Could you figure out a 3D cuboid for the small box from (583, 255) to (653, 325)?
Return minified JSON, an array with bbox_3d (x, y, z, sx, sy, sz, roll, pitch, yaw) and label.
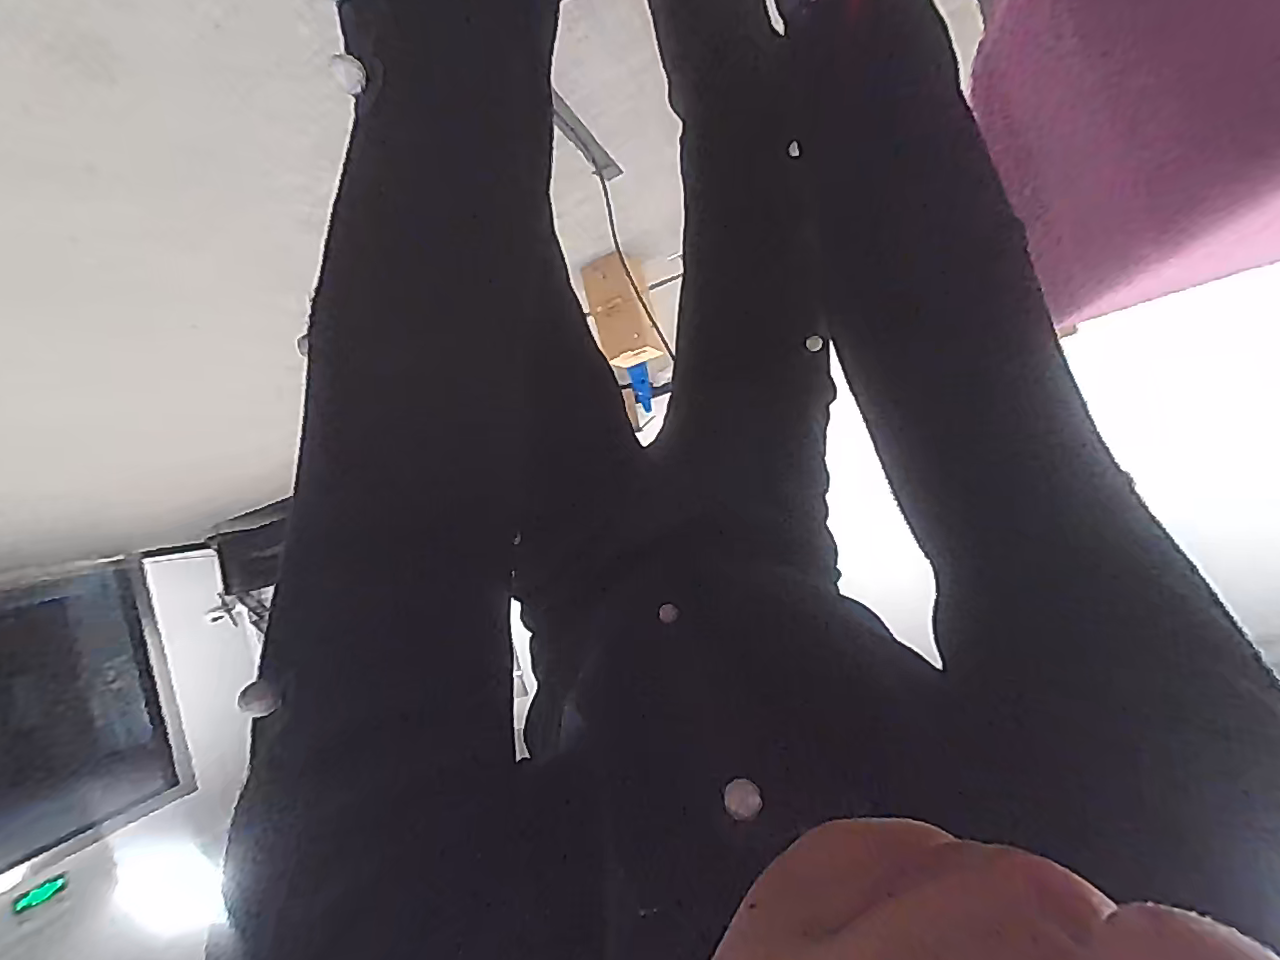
[{"bbox_3d":[-0.077,-0.667,1.900,0.168,0.176,0.179,-16,177,26],"label":"small box"}]
